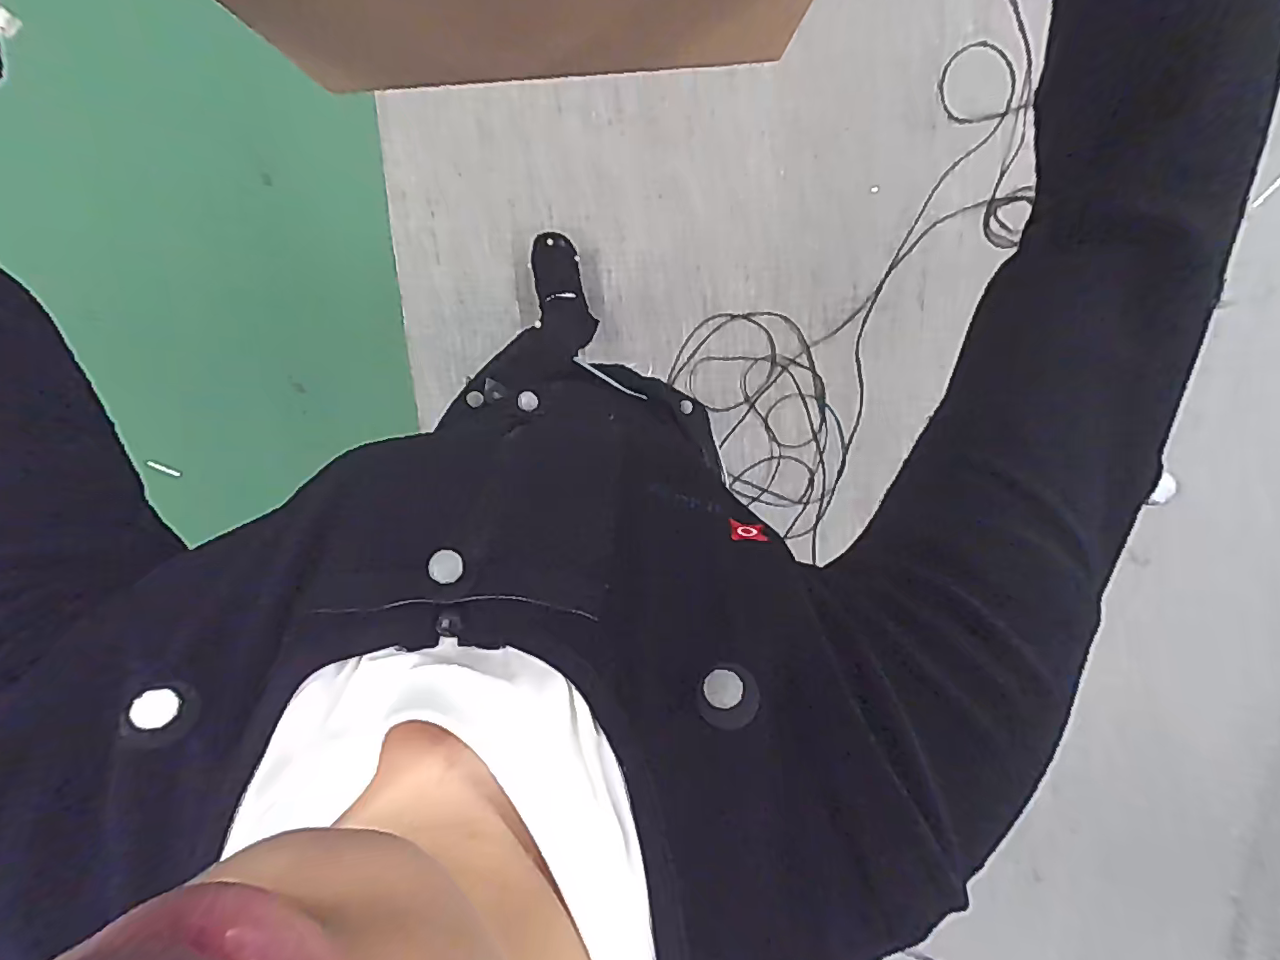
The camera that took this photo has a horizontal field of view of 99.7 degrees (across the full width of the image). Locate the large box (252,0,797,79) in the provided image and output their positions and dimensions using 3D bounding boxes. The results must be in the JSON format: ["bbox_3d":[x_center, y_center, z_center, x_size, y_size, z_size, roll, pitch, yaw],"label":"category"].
[{"bbox_3d":[-0.080,-0.478,0.299,0.408,0.320,0.320,-5,106,-2],"label":"large box"}]
